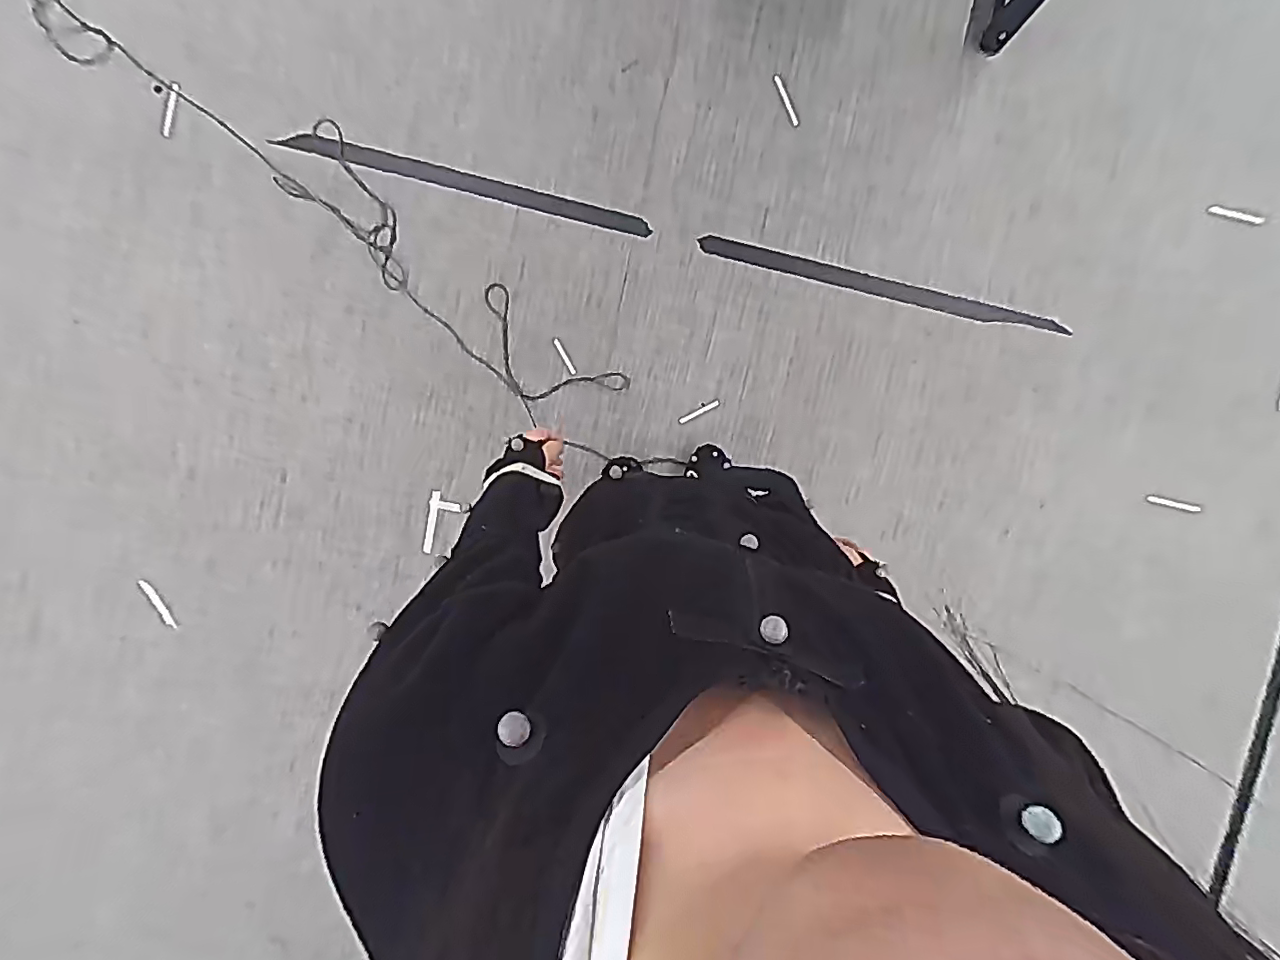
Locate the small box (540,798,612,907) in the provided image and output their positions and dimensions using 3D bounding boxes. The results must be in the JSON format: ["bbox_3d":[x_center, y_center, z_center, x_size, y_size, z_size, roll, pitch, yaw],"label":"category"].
[{"bbox_3d":[-0.166,0.986,1.445,0.168,0.176,0.179,6,92,-1],"label":"small box"}]
